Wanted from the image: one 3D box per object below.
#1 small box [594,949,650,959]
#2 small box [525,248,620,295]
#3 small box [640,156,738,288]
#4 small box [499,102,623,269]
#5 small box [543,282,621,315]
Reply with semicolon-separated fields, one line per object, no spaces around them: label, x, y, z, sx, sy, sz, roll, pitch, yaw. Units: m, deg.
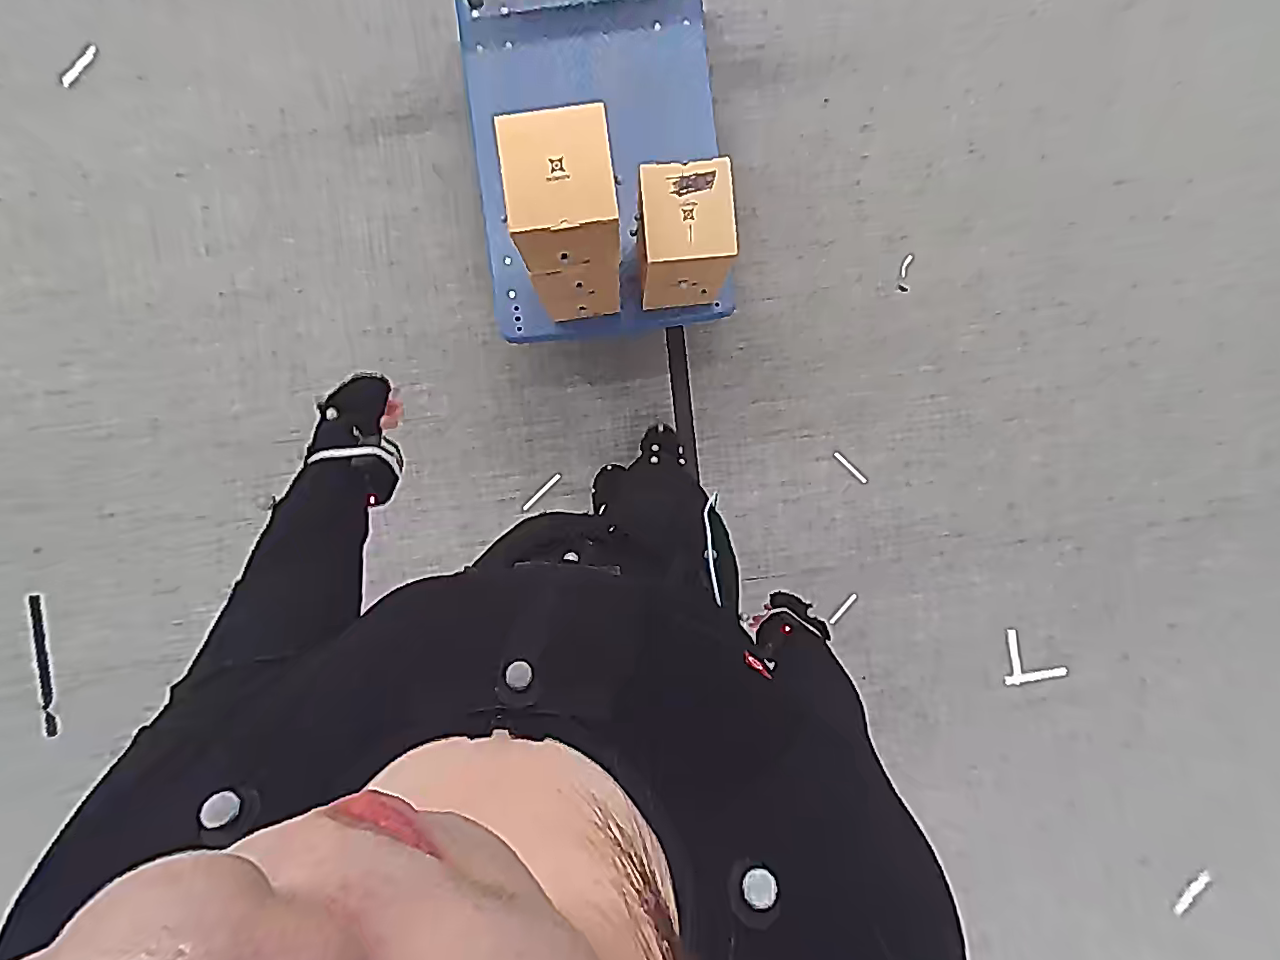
small box;-0.044;1.452;1.485;0.168;0.176;0.179;-7;92;-1
small box;-0.132;-0.469;1.044;0.168;0.176;0.179;-10;93;-1
small box;0.088;-0.490;1.046;0.168;0.176;0.179;-5;93;0
small box;-0.120;-0.467;0.881;0.168;0.176;0.179;-8;93;-1
small box;-0.133;-0.477;1.208;0.168;0.176;0.179;-8;92;-1
